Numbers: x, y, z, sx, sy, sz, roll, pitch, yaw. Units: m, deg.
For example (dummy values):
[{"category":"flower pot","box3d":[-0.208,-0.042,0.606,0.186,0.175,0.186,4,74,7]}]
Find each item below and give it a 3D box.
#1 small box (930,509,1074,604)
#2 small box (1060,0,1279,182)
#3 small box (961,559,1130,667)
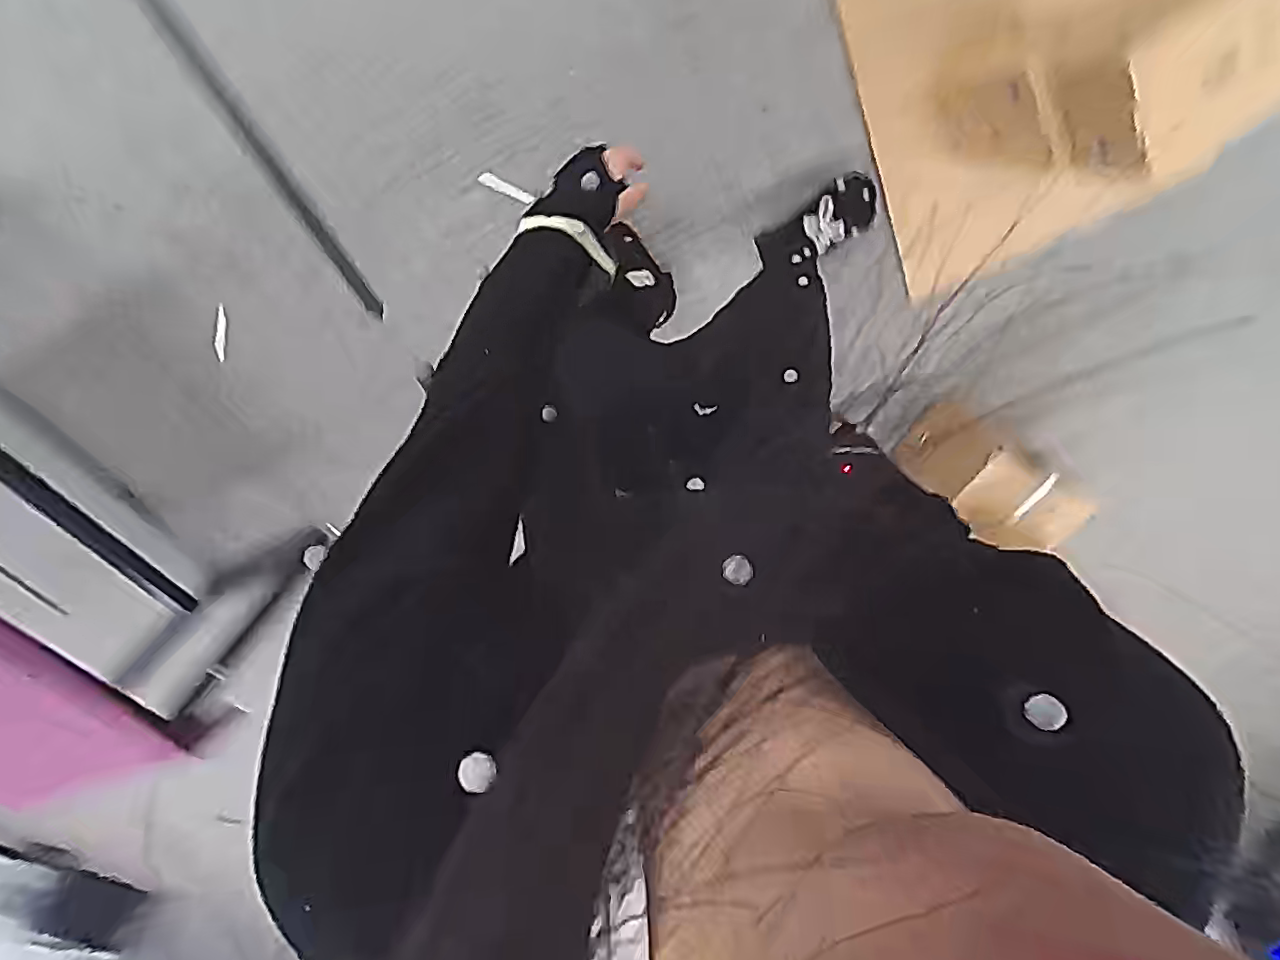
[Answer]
[{"category":"small box","box3d":[0.809,0.193,1.227,0.179,0.176,0.168,22,122,-11]},{"category":"small box","box3d":[0.698,-0.527,0.713,0.179,0.176,0.168,-30,117,20]},{"category":"small box","box3d":[0.804,0.286,1.092,0.179,0.176,0.168,21,122,-12]}]
